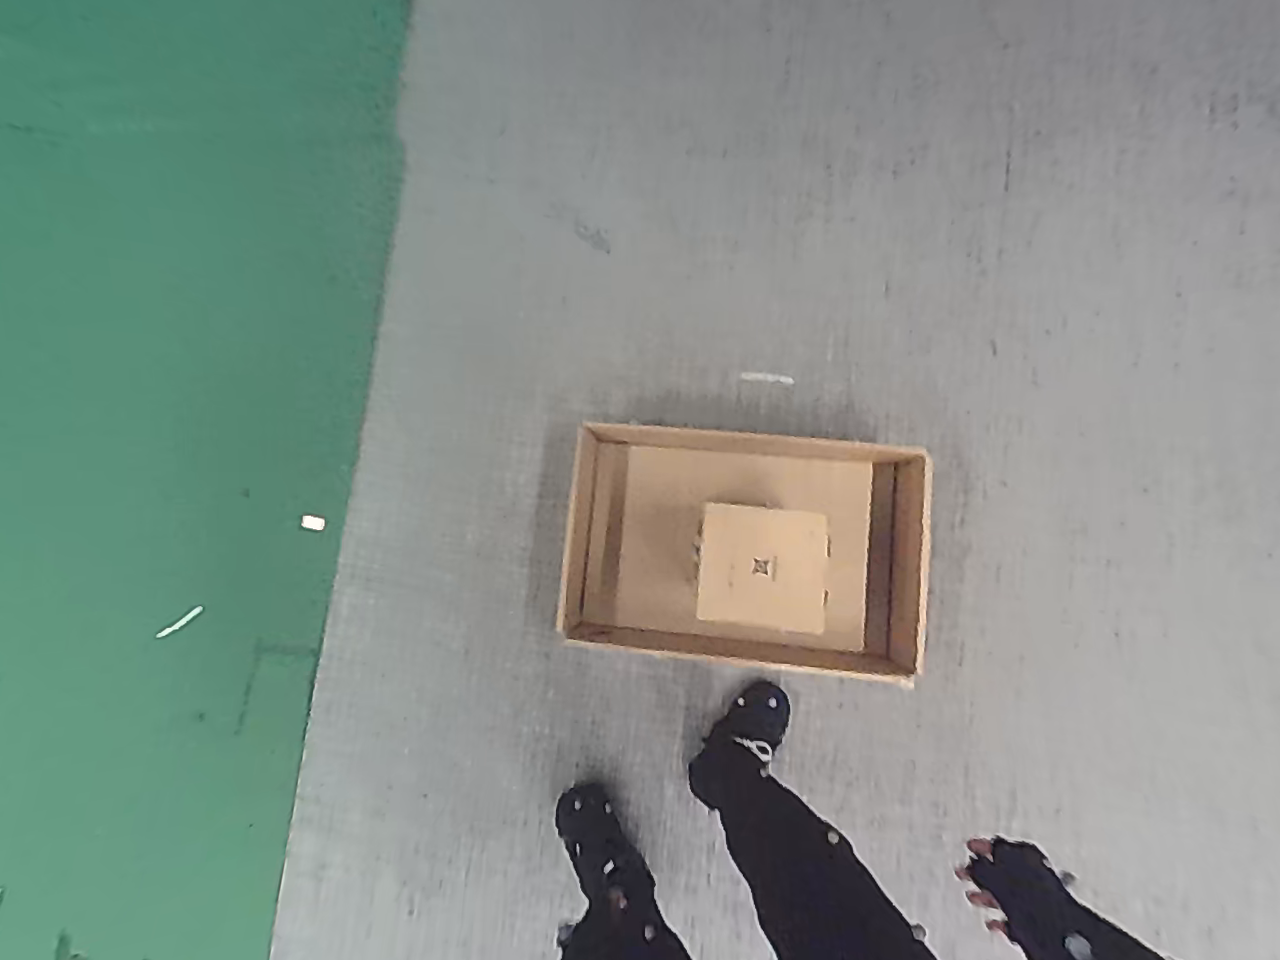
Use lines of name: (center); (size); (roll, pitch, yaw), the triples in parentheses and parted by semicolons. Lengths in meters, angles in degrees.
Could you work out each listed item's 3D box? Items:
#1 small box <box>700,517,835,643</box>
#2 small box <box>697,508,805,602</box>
small box: (0.183, 0.144, 0.816); (0.179, 0.176, 0.168); (1, 83, 5)
small box: (0.197, 0.147, 0.998); (0.179, 0.176, 0.168); (3, 82, 6)
